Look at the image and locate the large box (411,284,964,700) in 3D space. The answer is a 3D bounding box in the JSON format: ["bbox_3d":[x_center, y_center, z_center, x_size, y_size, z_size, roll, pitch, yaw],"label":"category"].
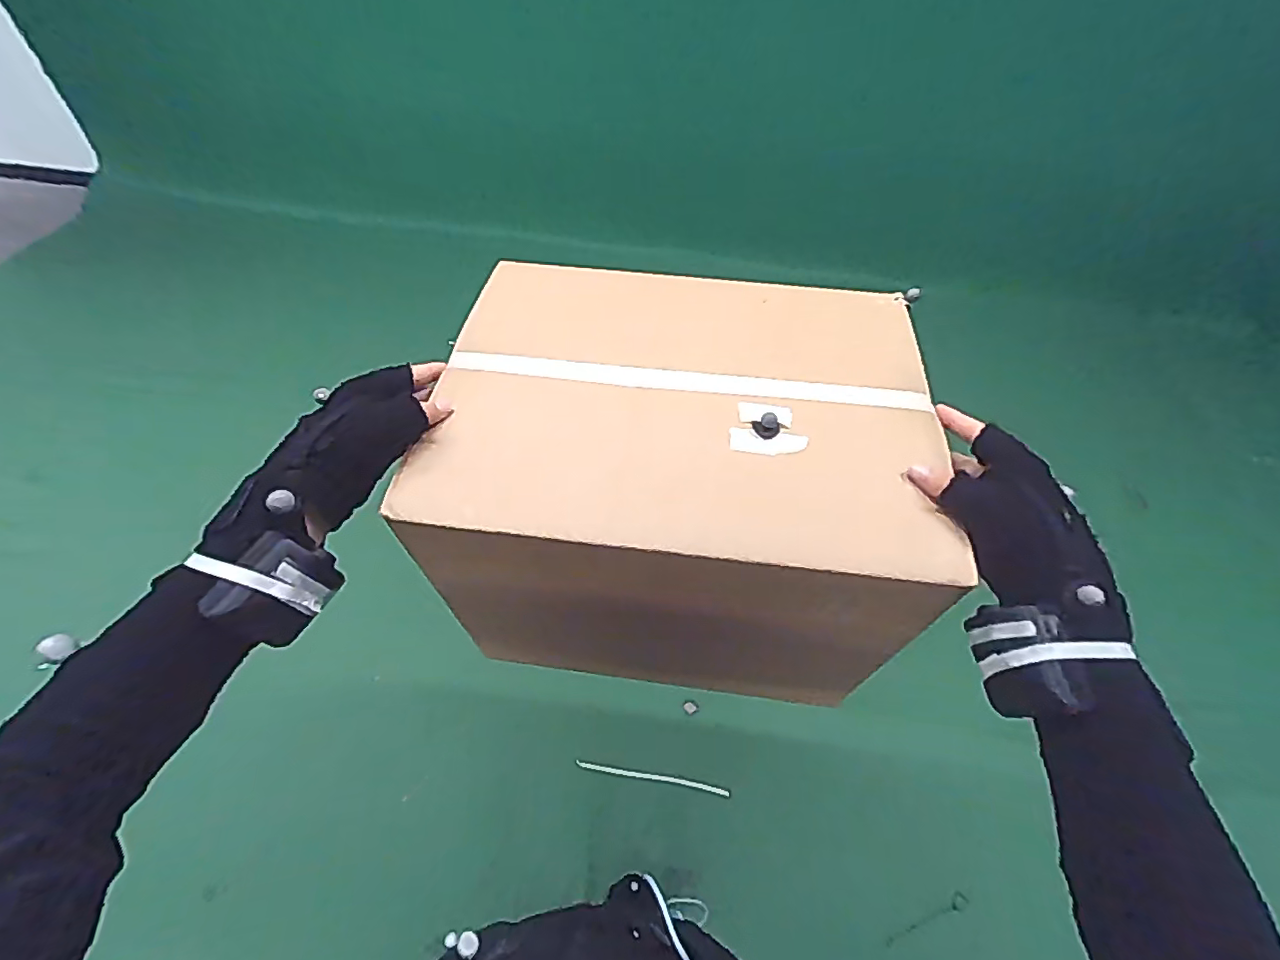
[{"bbox_3d":[0.039,0.022,0.588,0.408,0.320,0.320,6,54,3],"label":"large box"}]
